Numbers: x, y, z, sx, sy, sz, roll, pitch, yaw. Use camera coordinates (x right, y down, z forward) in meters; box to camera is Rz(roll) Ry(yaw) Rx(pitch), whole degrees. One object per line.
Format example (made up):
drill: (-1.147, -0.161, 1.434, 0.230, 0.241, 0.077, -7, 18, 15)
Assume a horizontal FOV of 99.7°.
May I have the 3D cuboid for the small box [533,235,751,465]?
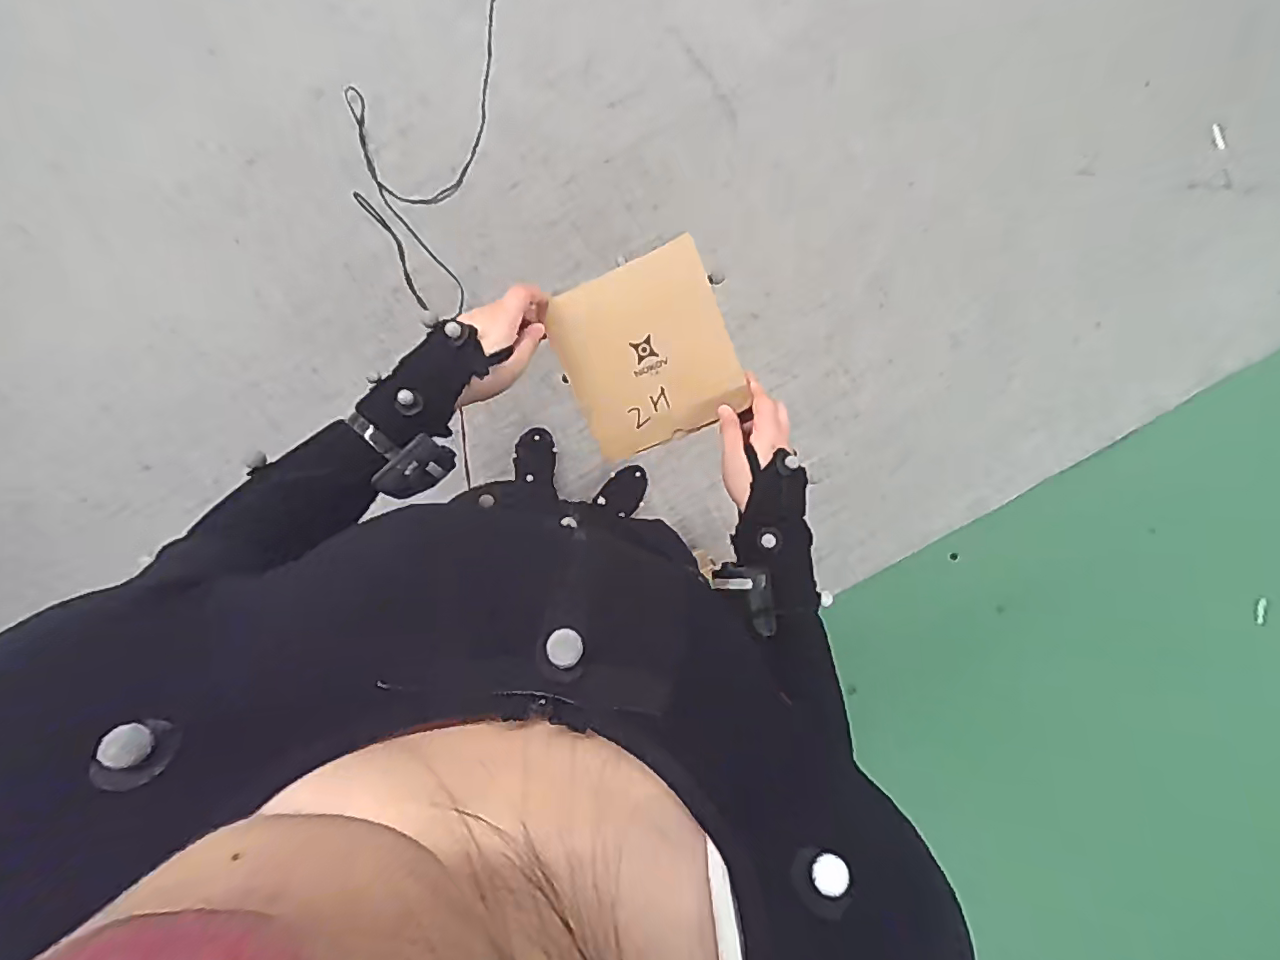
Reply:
small box: (0.009, -0.144, 0.599, 0.168, 0.176, 0.179, -21, 107, 13)
